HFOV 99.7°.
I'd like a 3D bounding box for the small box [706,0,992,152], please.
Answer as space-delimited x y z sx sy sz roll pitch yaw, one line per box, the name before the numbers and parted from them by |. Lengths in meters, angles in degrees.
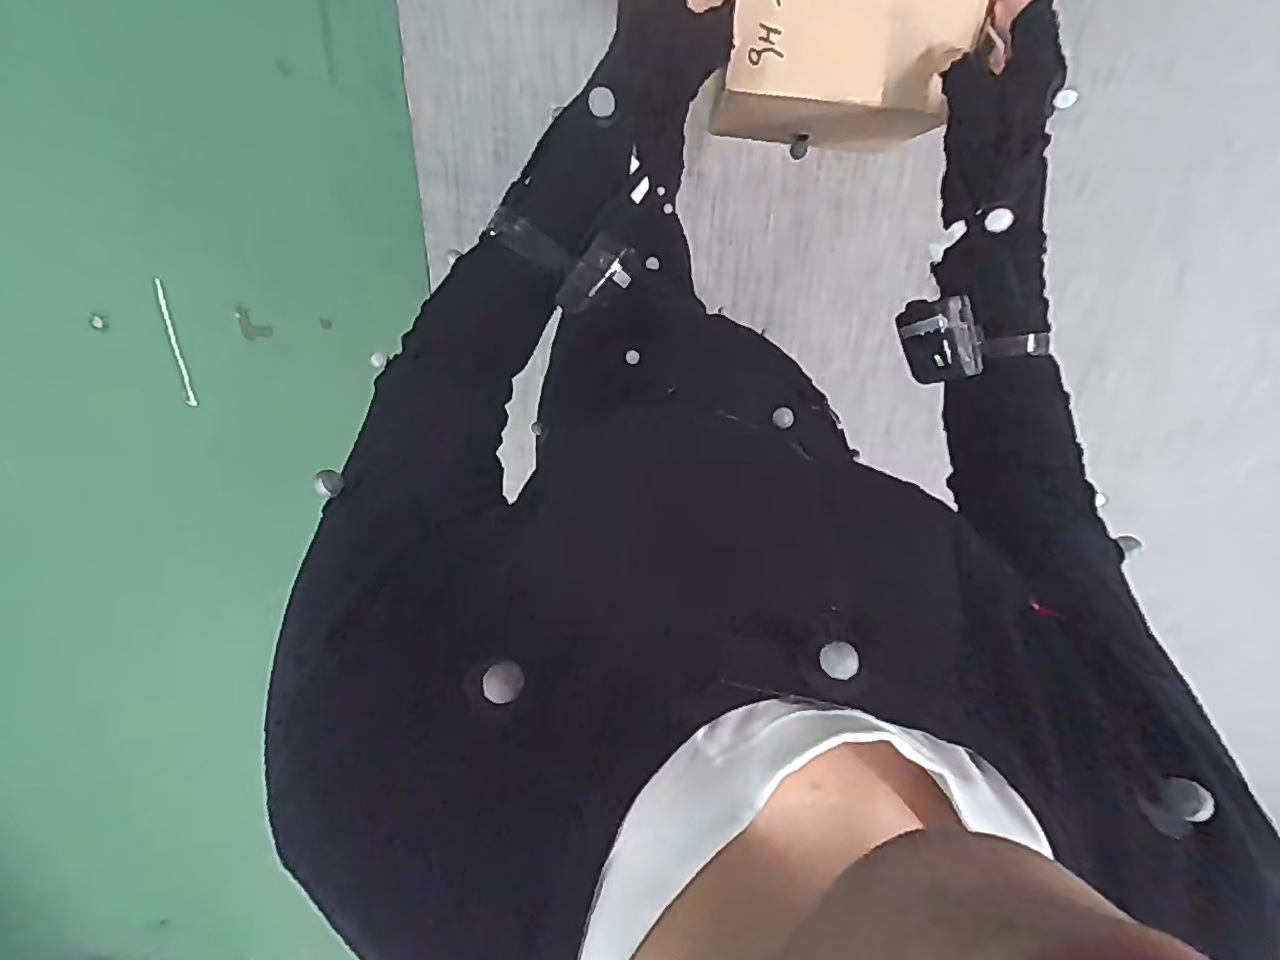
small box | 0.158 -0.379 0.438 0.179 0.176 0.168 6 113 -1
